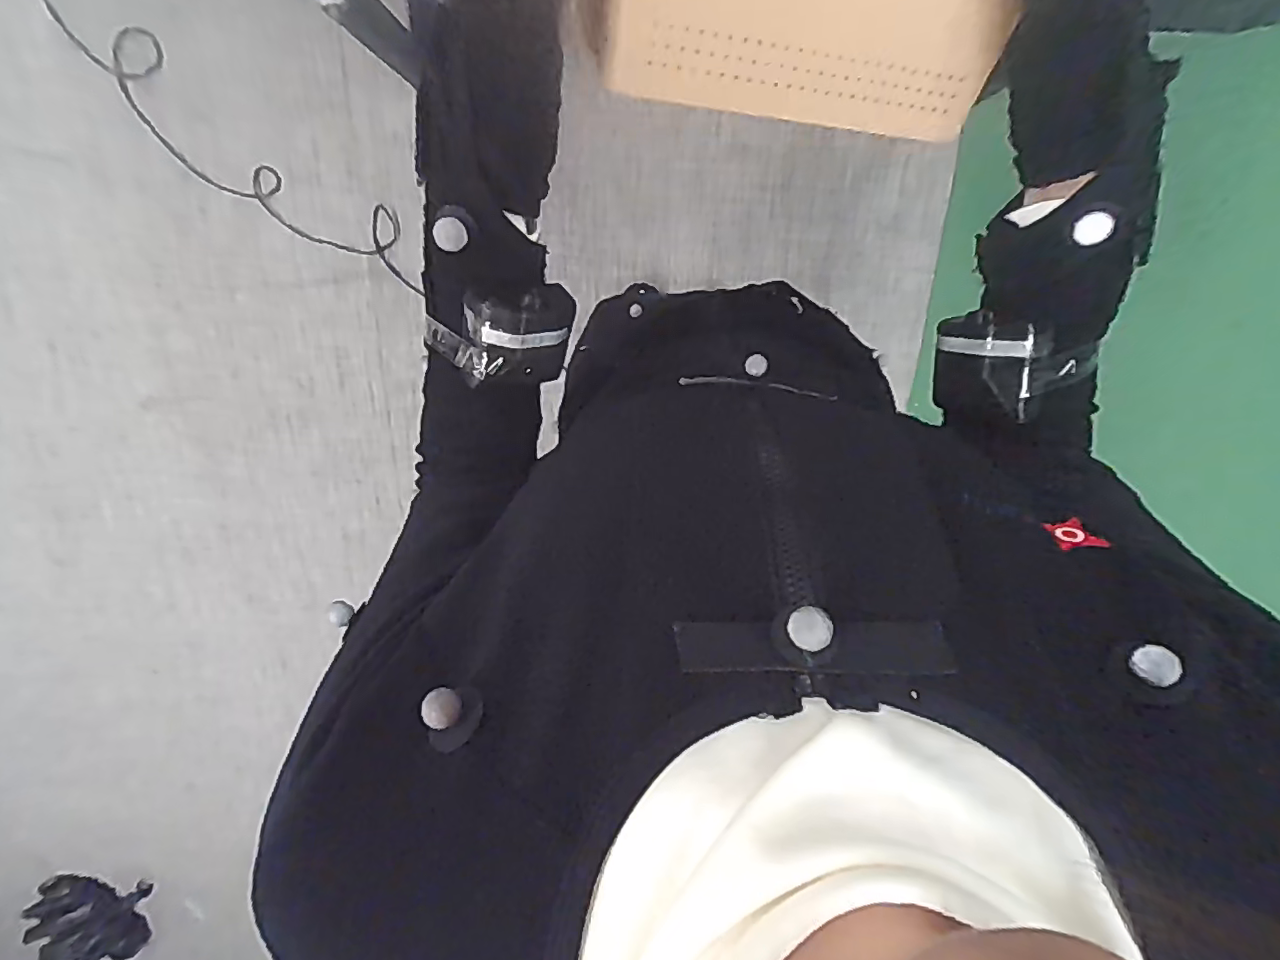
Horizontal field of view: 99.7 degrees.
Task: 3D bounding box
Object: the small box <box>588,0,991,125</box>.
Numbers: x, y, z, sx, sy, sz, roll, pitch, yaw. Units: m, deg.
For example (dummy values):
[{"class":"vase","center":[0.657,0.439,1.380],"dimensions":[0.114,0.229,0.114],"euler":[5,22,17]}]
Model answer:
[{"class":"small box","center":[0.072,-0.290,0.250],"dimensions":[0.179,0.168,0.176],"euler":[-2,140,-16]}]
